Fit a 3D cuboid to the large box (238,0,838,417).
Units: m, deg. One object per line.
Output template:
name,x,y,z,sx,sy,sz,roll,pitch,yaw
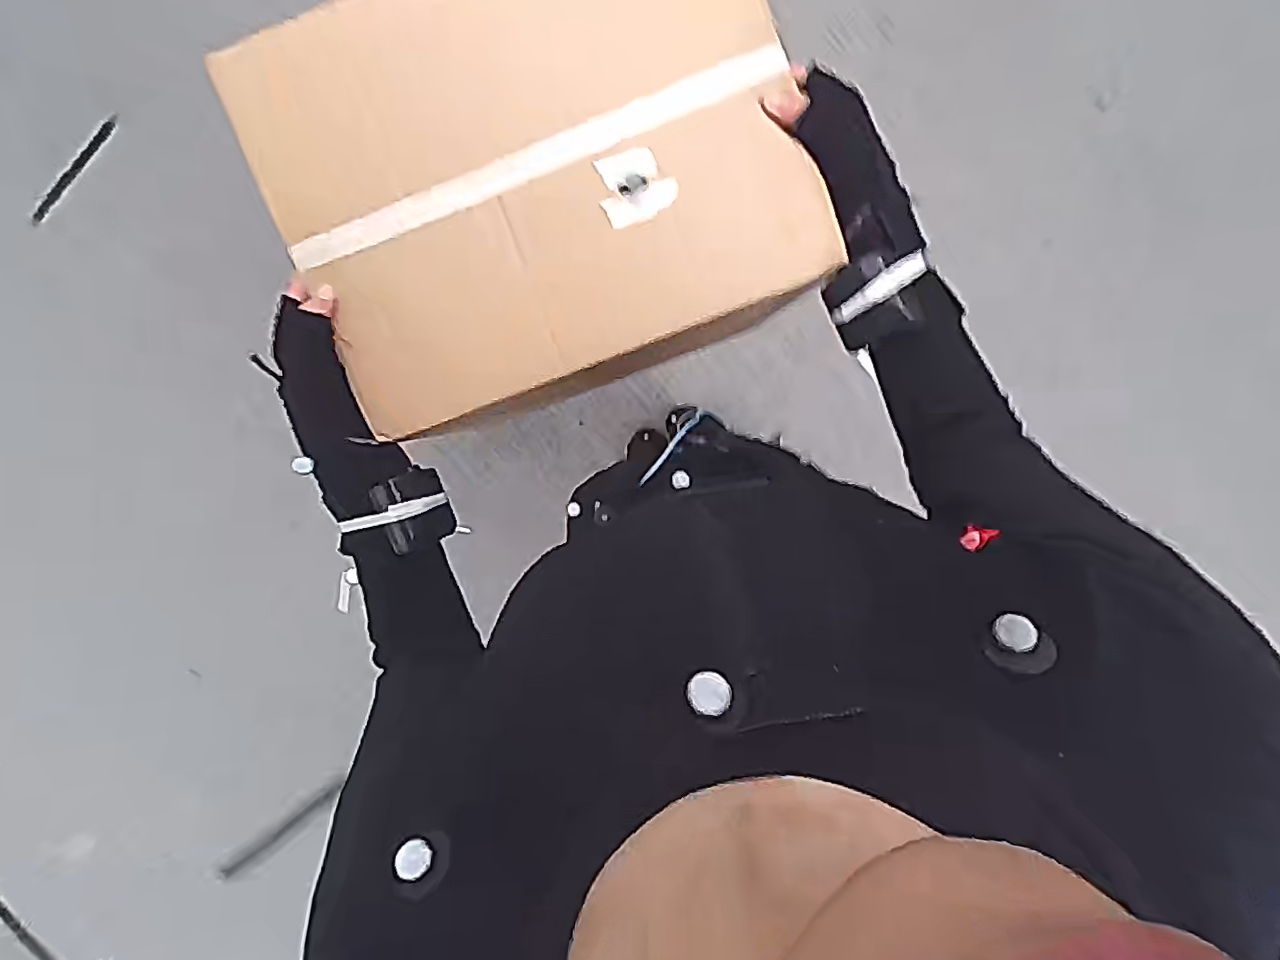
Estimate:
large box,-0.076,-0.279,0.570,0.408,0.320,0.320,-19,99,3
